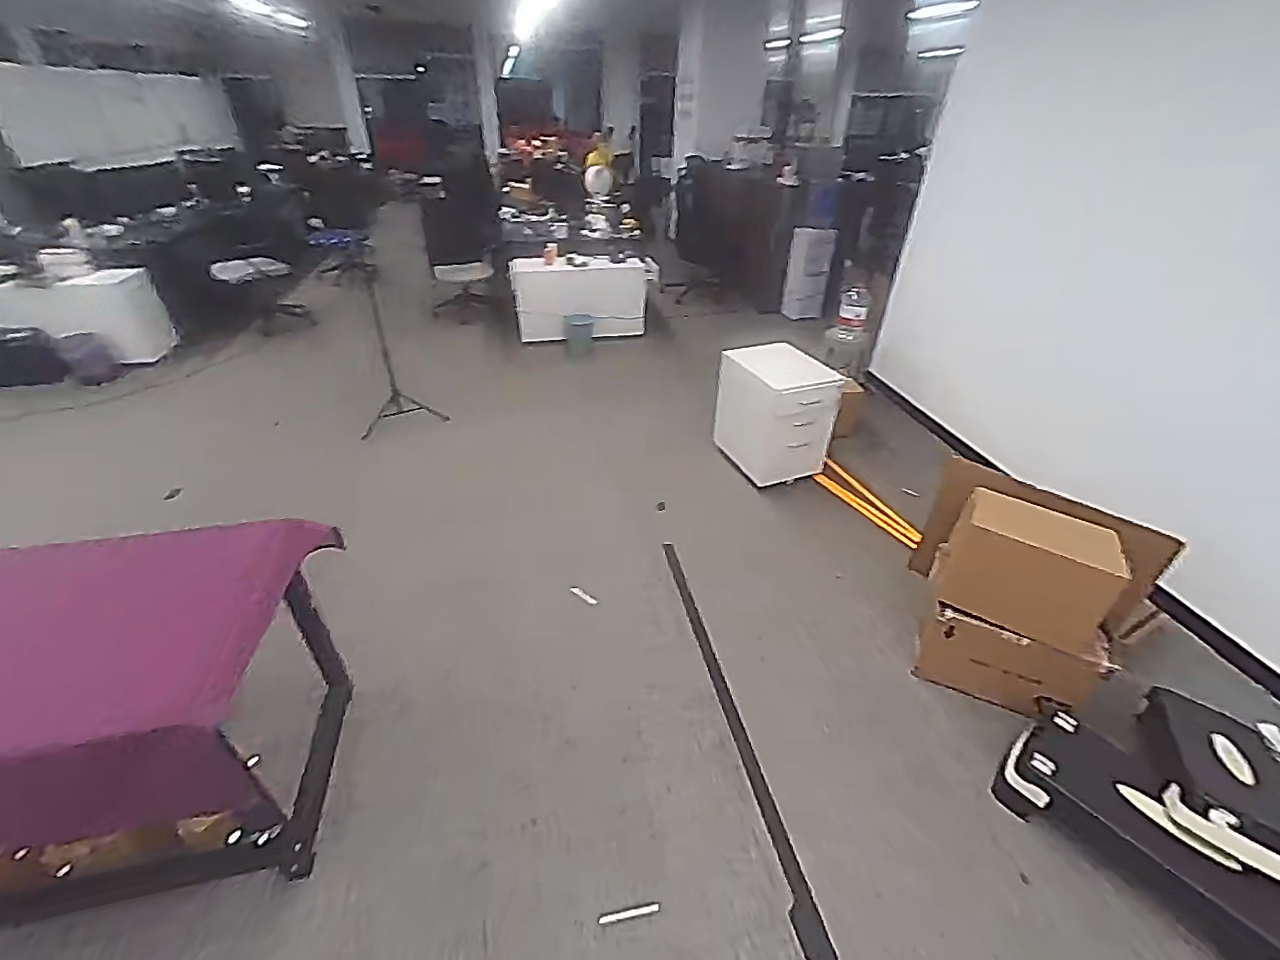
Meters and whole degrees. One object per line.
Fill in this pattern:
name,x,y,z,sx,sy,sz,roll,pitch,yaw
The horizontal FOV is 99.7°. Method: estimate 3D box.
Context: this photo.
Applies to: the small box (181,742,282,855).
small box,-1.123,0.876,1.490,0.168,0.176,0.179,-26,43,-32
